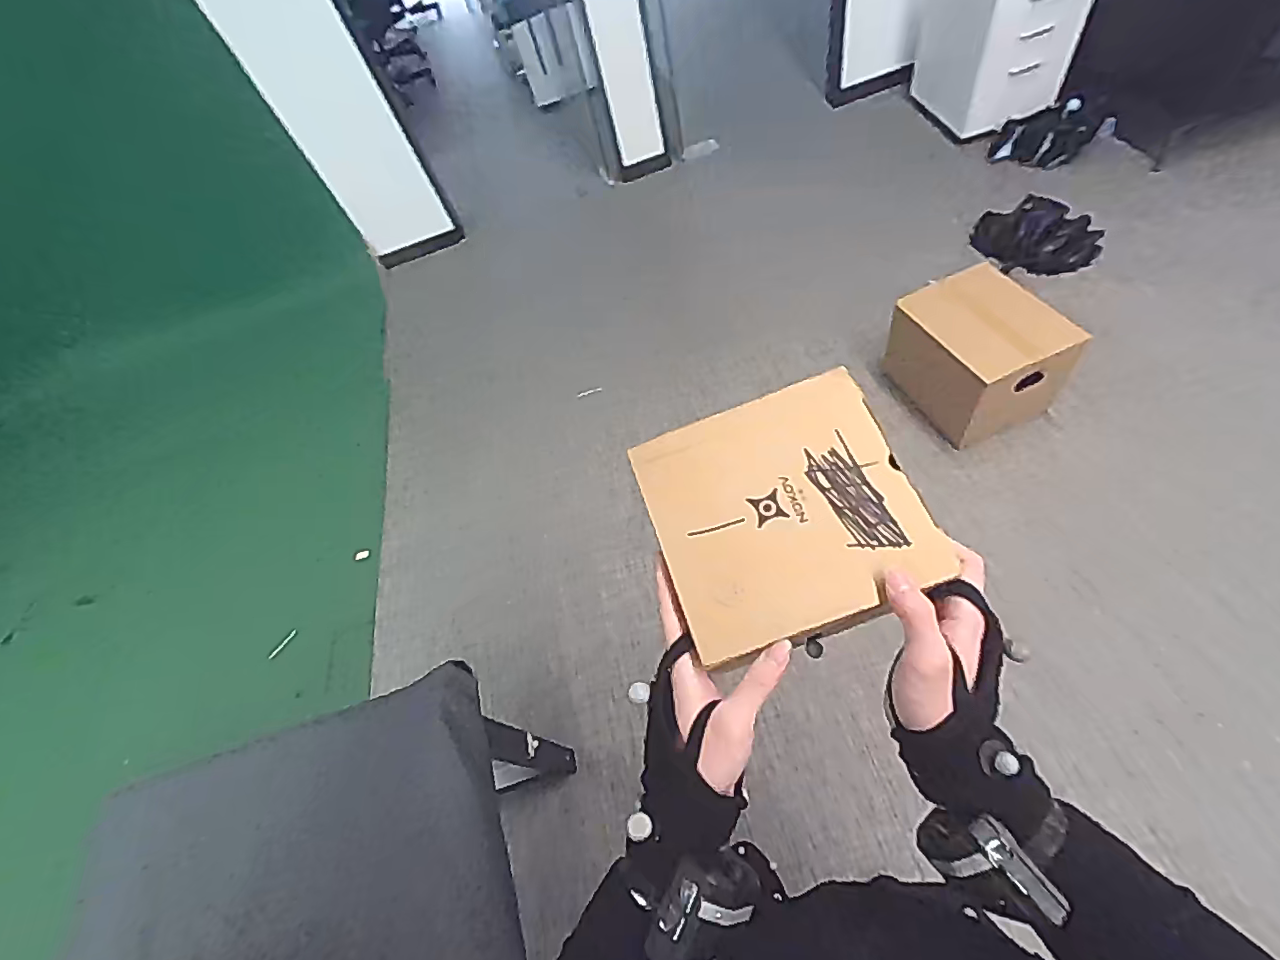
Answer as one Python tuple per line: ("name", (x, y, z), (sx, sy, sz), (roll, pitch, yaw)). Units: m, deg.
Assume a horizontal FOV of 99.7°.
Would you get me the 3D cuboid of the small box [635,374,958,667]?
("small box", (0.112, 0.047, 0.447), (0.179, 0.176, 0.168), (-20, 66, 3))
